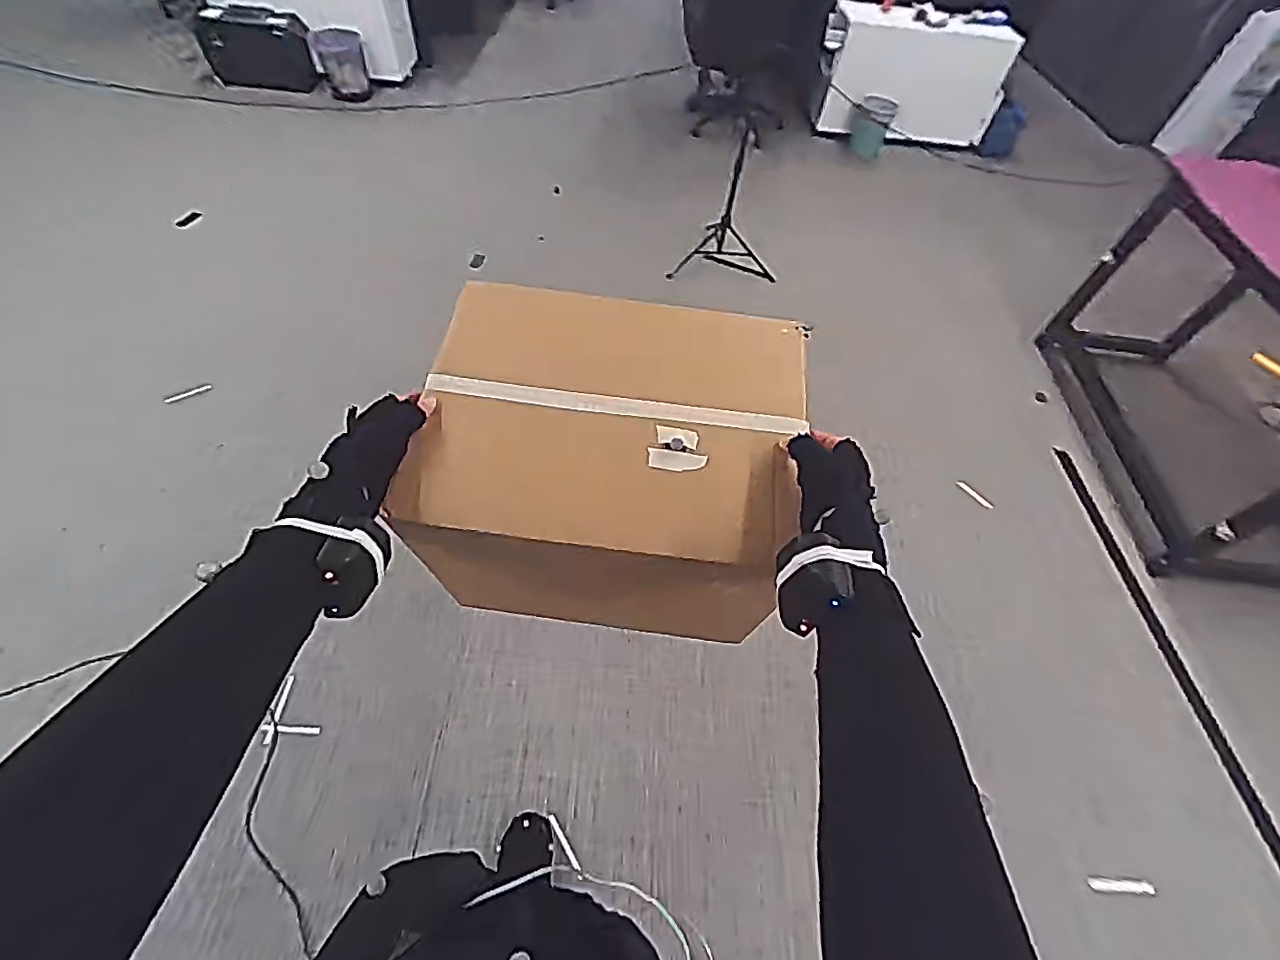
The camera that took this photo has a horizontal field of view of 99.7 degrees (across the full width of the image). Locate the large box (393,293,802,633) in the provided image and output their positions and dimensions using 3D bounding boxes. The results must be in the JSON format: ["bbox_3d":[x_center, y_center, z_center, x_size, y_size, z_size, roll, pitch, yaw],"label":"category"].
[{"bbox_3d":[-0.038,-0.003,0.716,0.408,0.320,0.320,7,62,0],"label":"large box"}]
